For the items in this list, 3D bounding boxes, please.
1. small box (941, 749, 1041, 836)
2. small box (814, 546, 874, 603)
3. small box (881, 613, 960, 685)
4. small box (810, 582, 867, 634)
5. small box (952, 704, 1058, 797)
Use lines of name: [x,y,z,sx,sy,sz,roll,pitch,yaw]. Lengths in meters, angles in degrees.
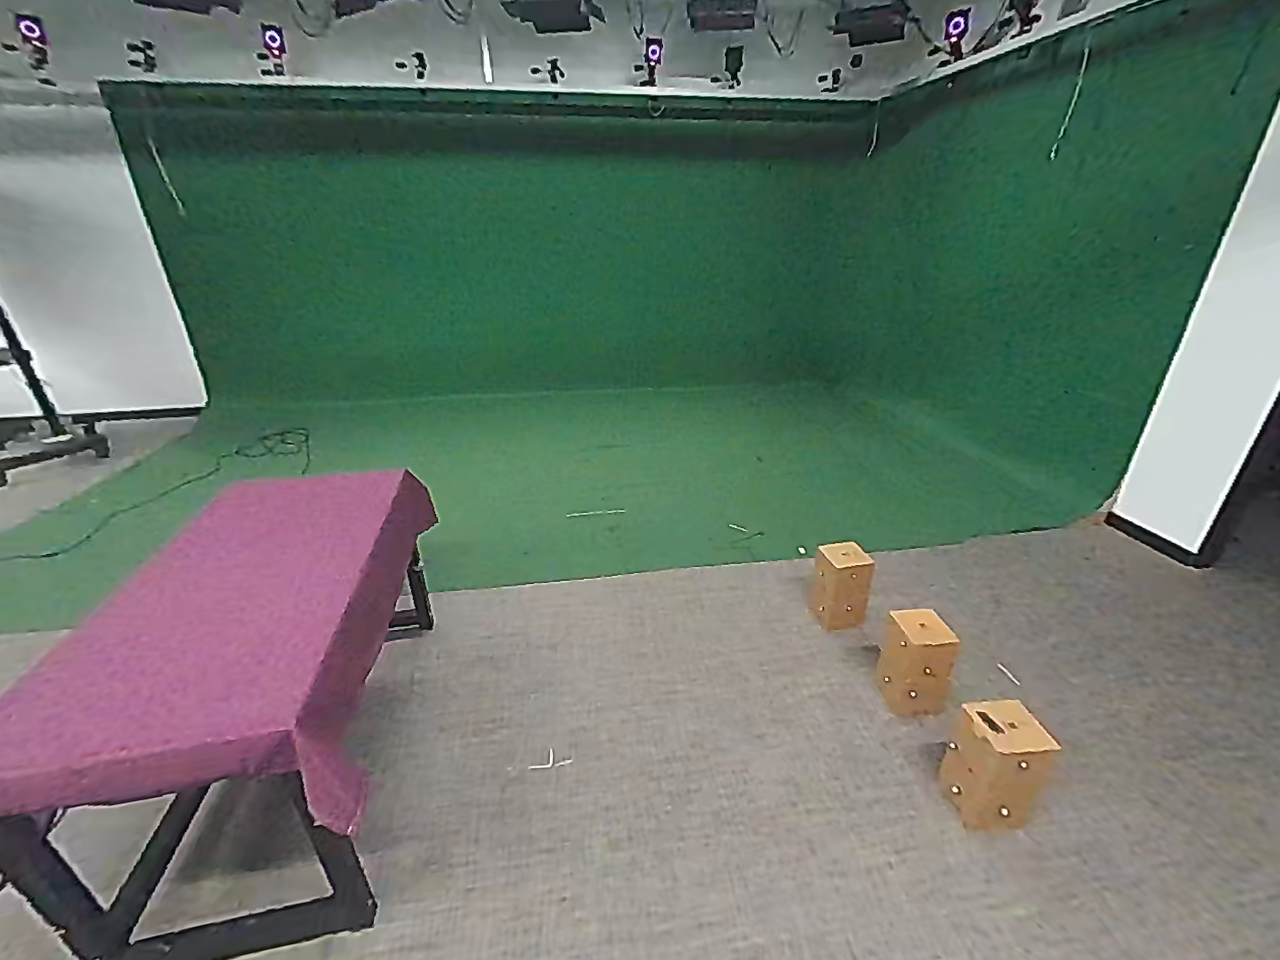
small box: [1.010,0.904,1.577,0.179,0.176,0.168,-4,26,-5]
small box: [0.849,0.400,2.272,0.179,0.176,0.168,-5,27,-10]
small box: [0.961,0.585,1.874,0.168,0.176,0.179,-2,25,-4]
small box: [0.853,0.549,2.341,0.179,0.176,0.168,-4,26,-9]
small box: [1.004,0.754,1.508,0.179,0.176,0.168,-2,25,-4]
